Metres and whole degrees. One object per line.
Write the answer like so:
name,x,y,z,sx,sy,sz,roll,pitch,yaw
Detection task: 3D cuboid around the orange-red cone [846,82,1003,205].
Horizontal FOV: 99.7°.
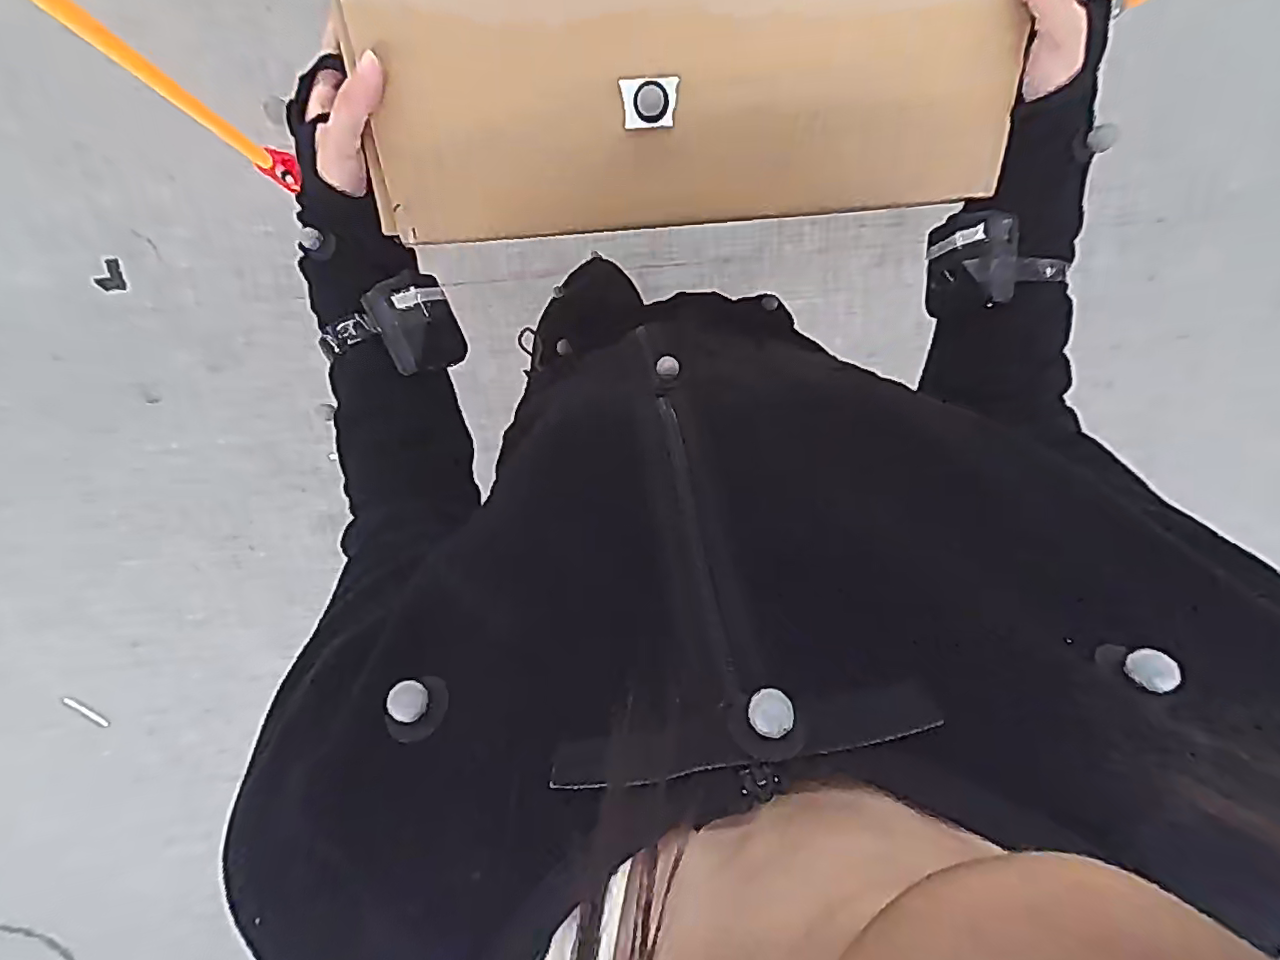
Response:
orange-red cone,0.579,-0.695,1.064,0.199,0.360,0.198,-13,108,1
